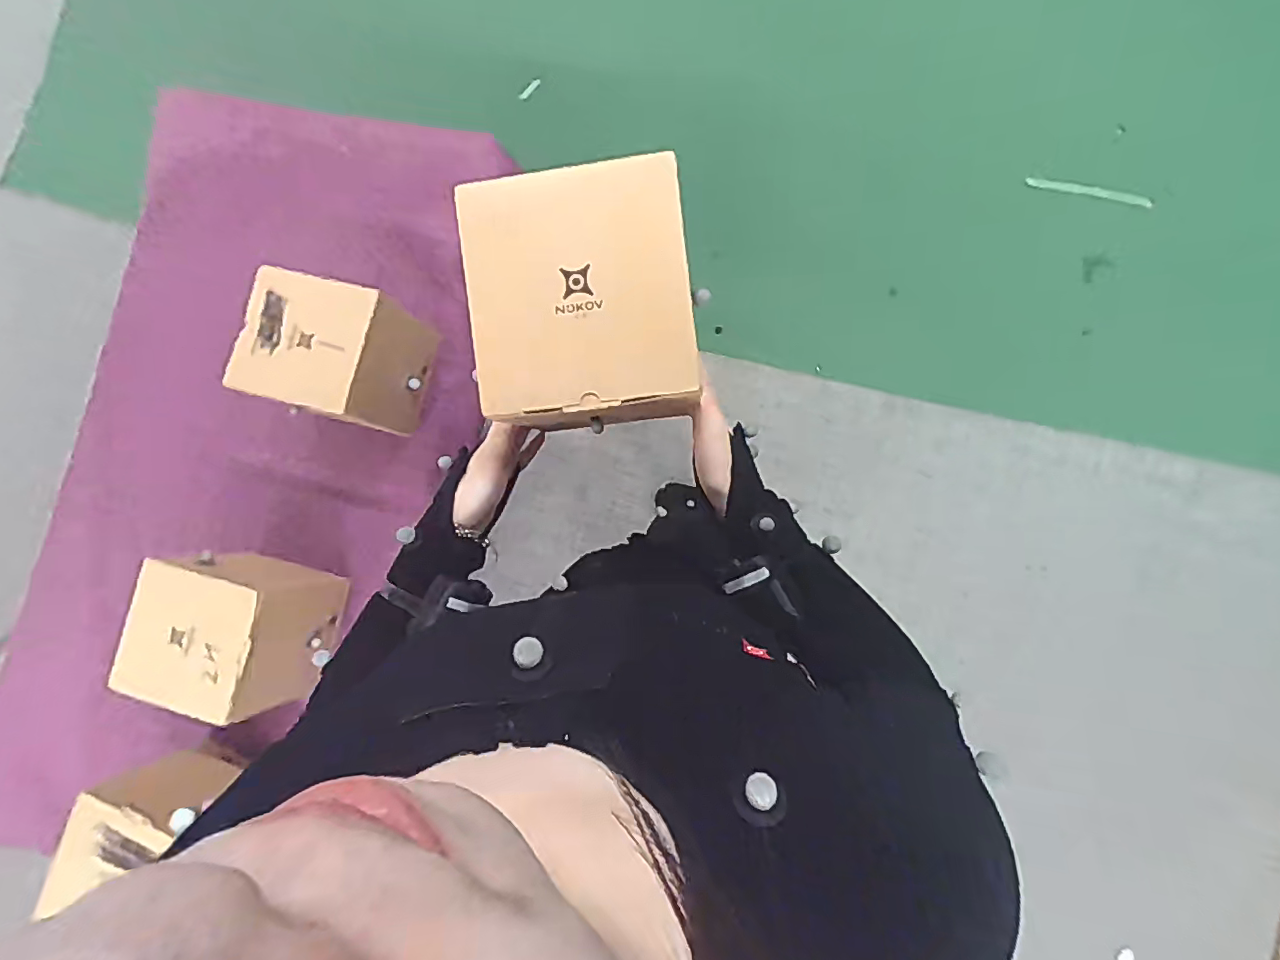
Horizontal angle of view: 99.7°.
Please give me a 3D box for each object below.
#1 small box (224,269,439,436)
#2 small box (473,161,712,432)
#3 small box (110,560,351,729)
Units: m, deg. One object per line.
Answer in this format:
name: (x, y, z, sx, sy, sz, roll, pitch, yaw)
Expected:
small box: (-0.418, -0.167, 0.760, 0.179, 0.176, 0.168, 14, 87, 7)
small box: (-0.031, -0.140, 0.477, 0.168, 0.176, 0.179, -6, 93, 4)
small box: (-0.542, 0.208, 0.737, 0.179, 0.176, 0.168, 12, 87, 9)
